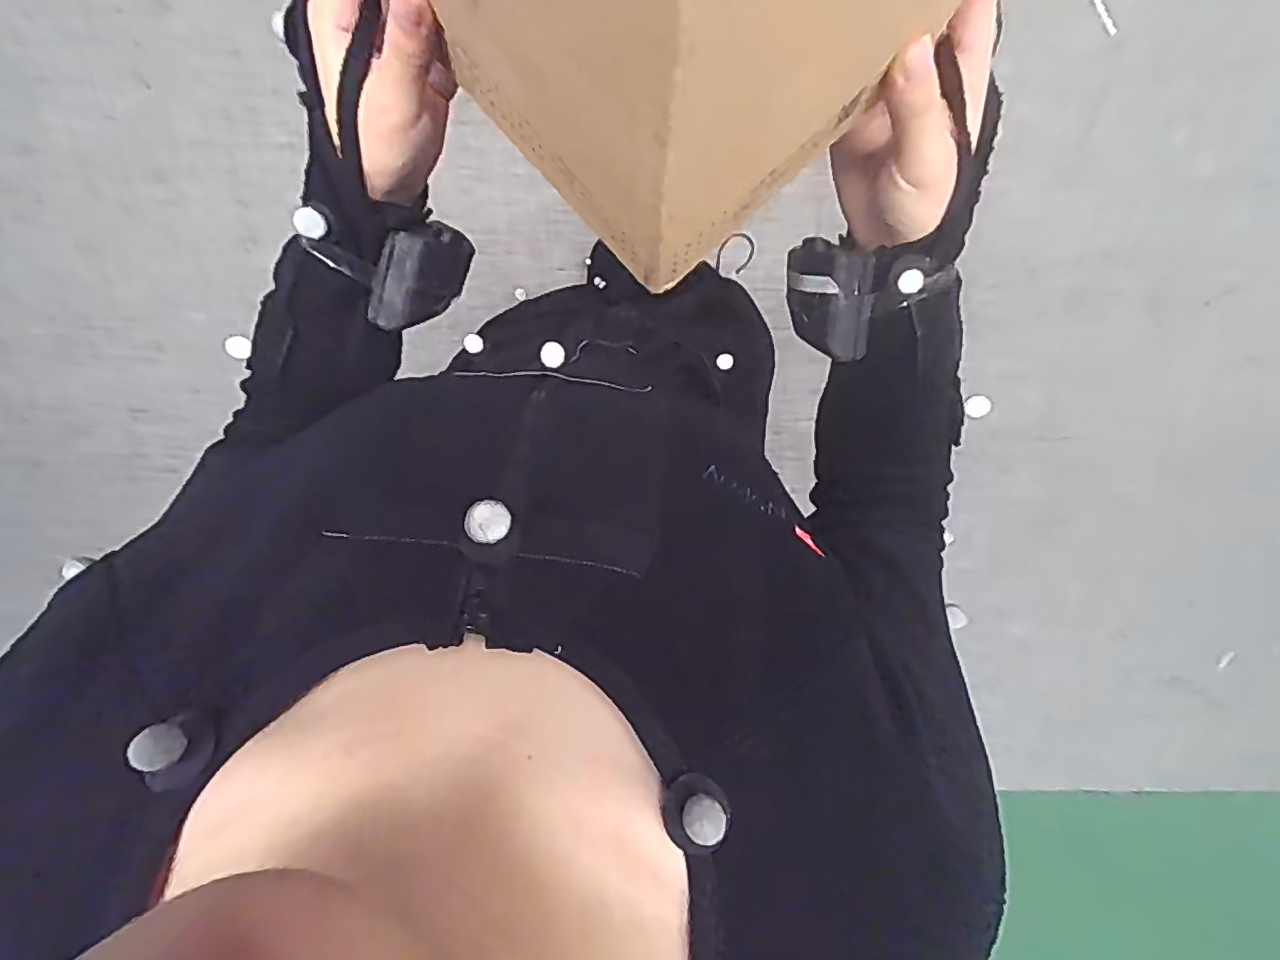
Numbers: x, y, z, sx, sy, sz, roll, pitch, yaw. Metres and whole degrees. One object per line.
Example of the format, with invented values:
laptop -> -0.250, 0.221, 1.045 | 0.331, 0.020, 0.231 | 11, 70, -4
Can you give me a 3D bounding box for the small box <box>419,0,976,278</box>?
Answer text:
small box -> 0.016, -0.202, 0.168 | 0.168, 0.176, 0.179 | -43, 87, -1
